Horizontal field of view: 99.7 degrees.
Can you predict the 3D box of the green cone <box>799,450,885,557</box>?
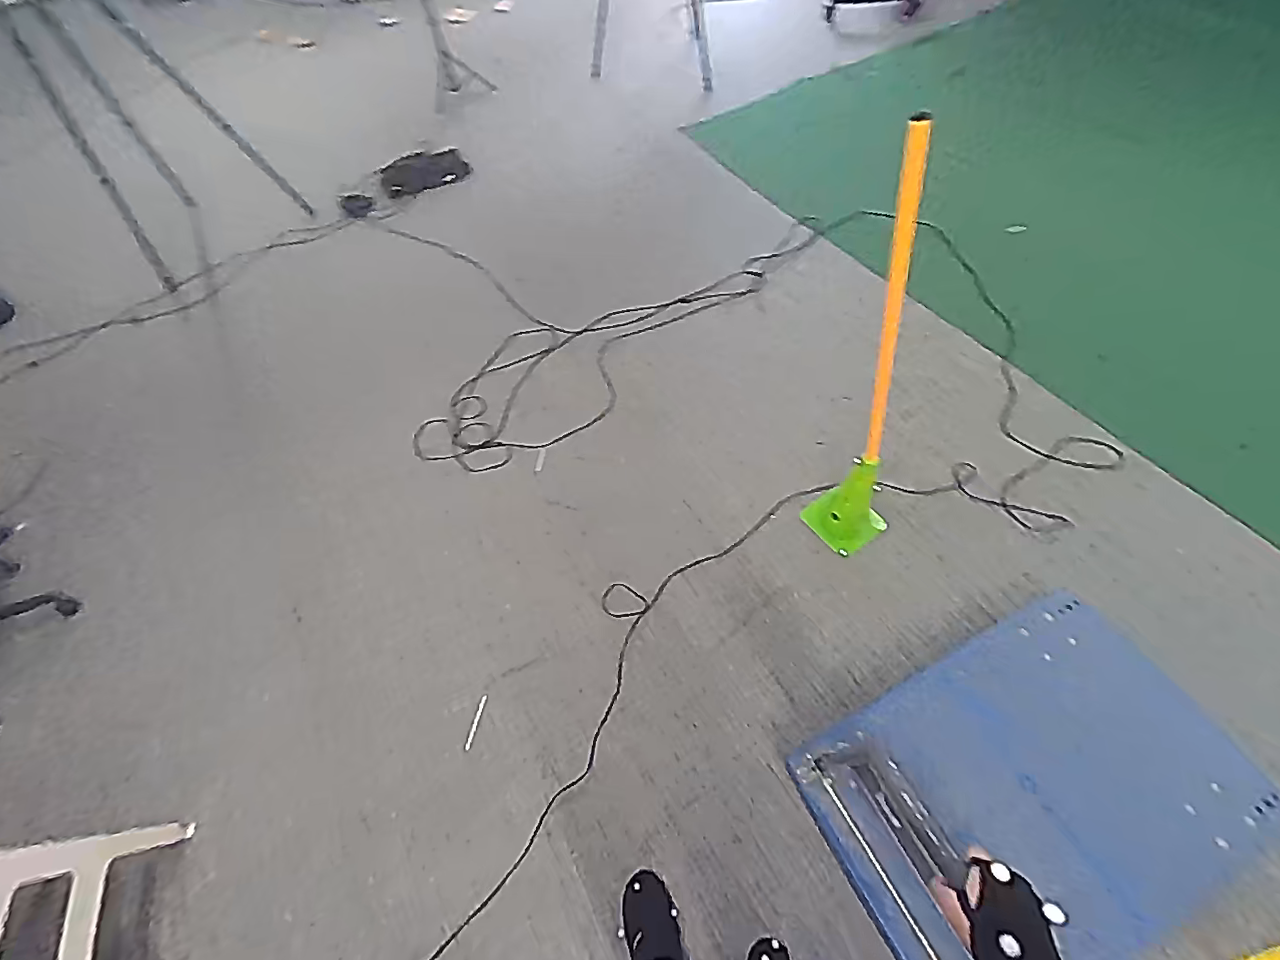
[{"bbox_3d":[0.622,0.036,1.575,0.200,0.368,0.202,-33,58,-15],"label":"green cone"}]
